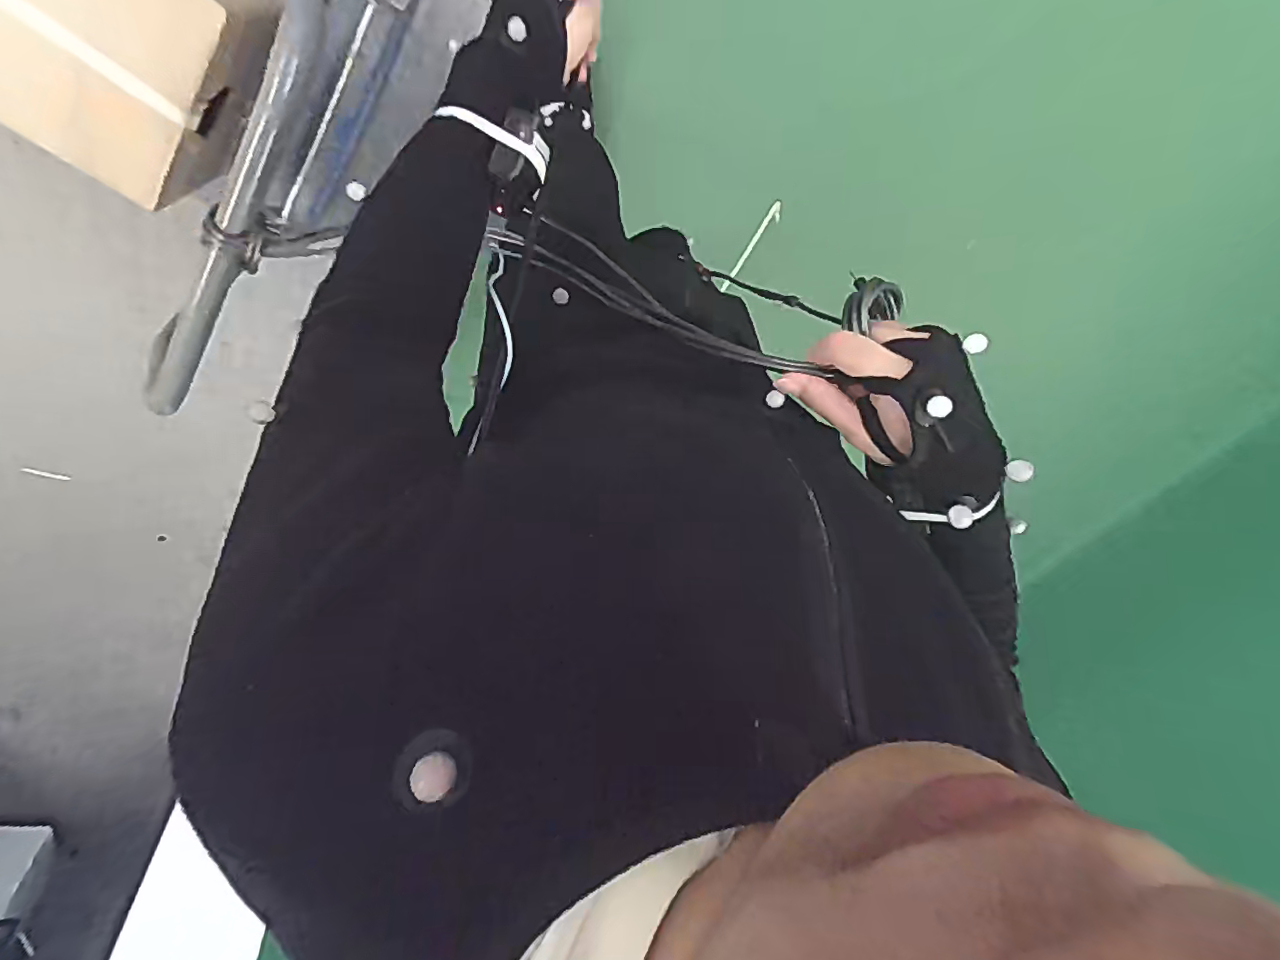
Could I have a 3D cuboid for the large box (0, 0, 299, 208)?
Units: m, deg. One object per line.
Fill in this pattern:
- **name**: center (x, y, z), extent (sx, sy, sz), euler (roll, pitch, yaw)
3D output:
- **large box**: center (-0.776, -0.670, 0.737), extent (0.408, 0.320, 0.320), euler (32, 118, -32)
